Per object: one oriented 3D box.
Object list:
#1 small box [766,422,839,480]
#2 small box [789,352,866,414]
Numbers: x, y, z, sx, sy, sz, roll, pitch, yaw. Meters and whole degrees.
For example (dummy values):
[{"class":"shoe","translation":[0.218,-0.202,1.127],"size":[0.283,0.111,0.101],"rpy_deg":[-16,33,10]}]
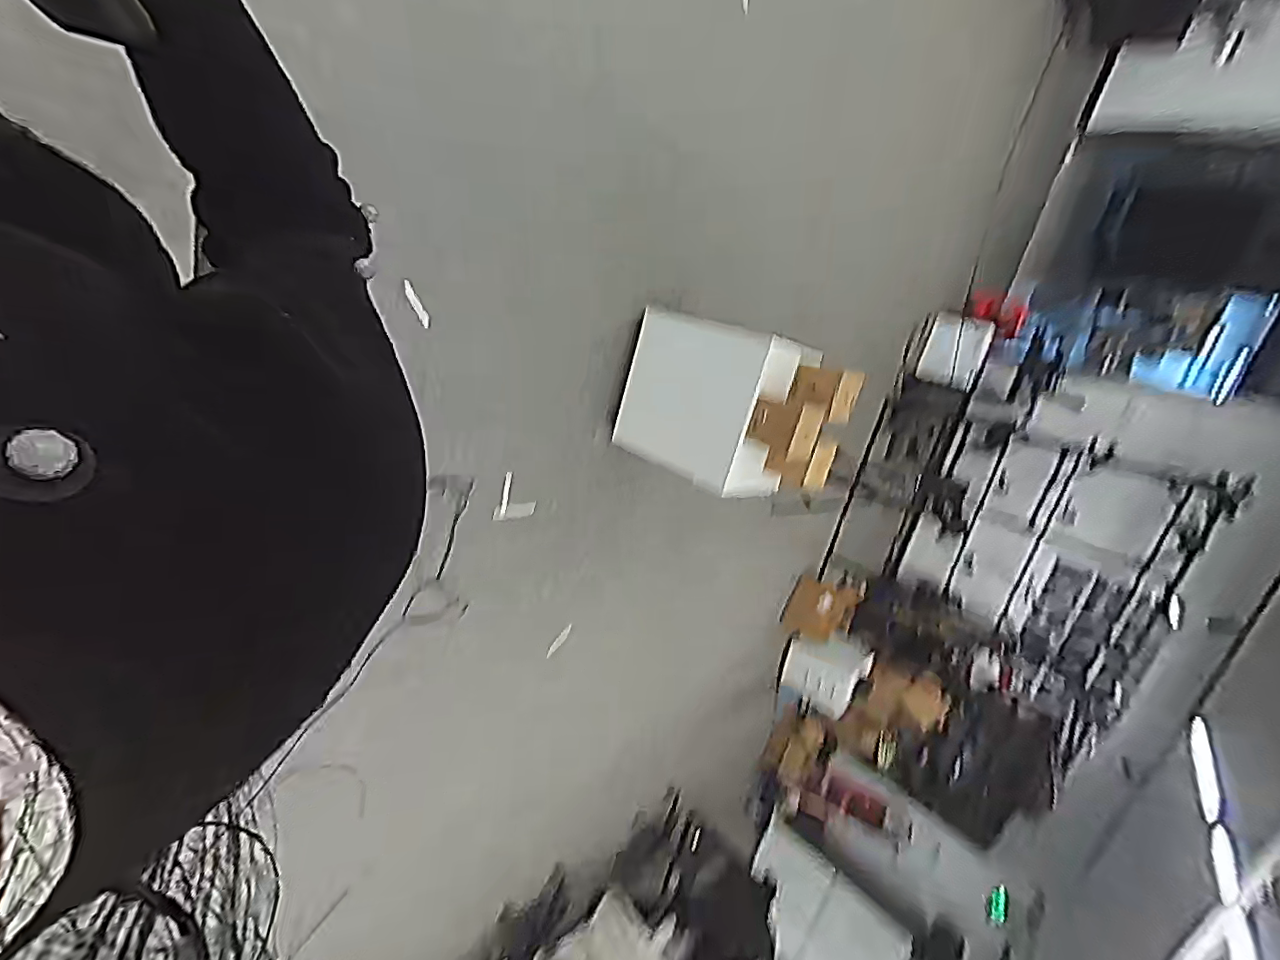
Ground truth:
[{"class":"small box","translation":[0.579,-0.106,1.943],"size":[0.179,0.176,0.168],"rpy_deg":[-2,113,-48]},{"class":"small box","translation":[0.644,-0.338,1.871],"size":[0.179,0.176,0.168],"rpy_deg":[-1,114,-47]}]
